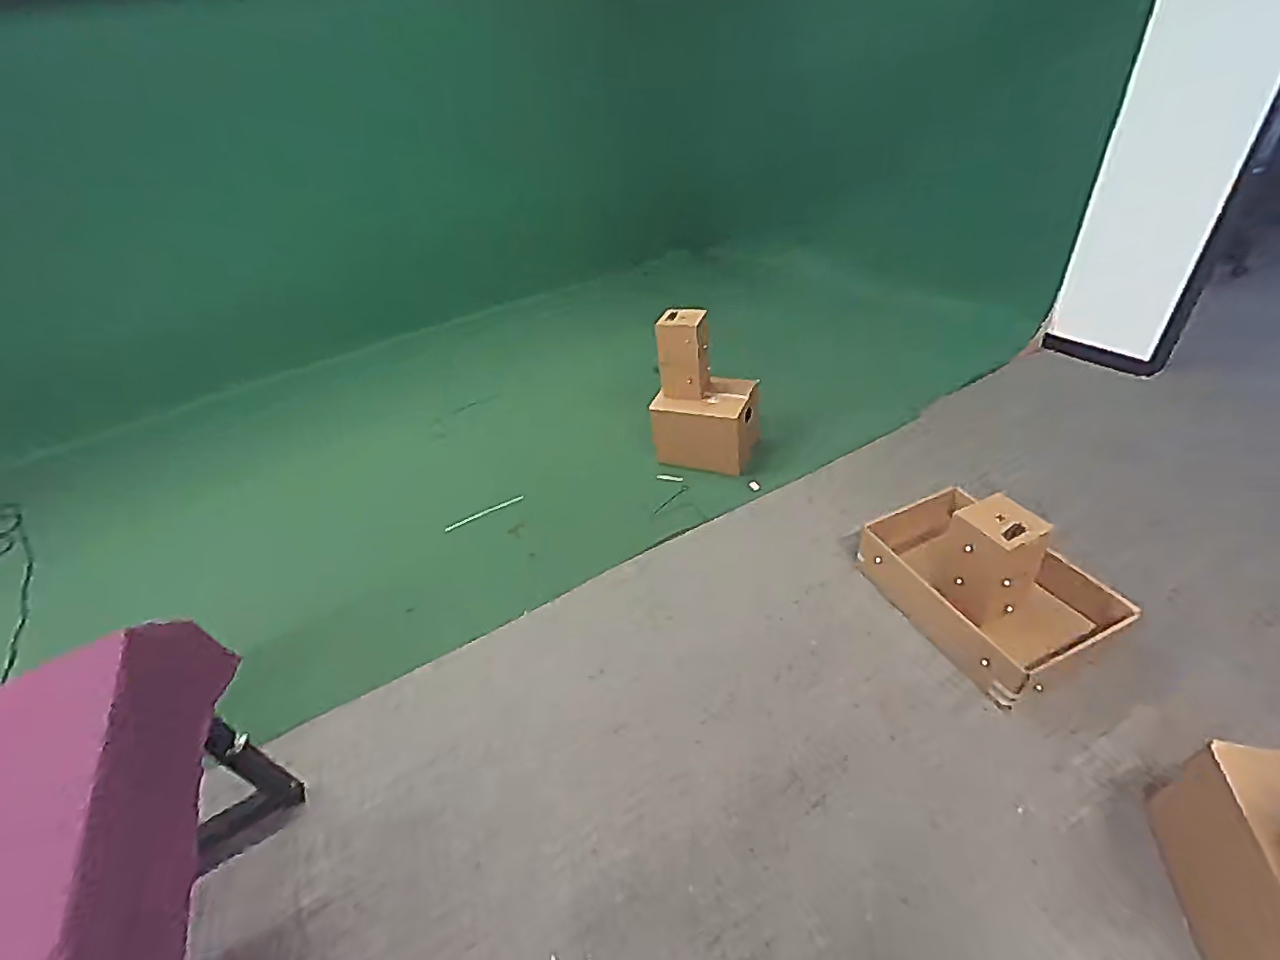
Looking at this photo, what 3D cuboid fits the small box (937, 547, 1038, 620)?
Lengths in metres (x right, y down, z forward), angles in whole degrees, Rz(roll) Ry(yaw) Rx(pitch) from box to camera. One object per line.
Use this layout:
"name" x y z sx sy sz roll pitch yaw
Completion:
"small box" 1.028 0.284 1.619 0.168 0.176 0.179 -21 40 -11

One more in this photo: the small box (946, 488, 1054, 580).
"small box" 1.000 0.157 1.517 0.168 0.176 0.179 -20 38 -11
